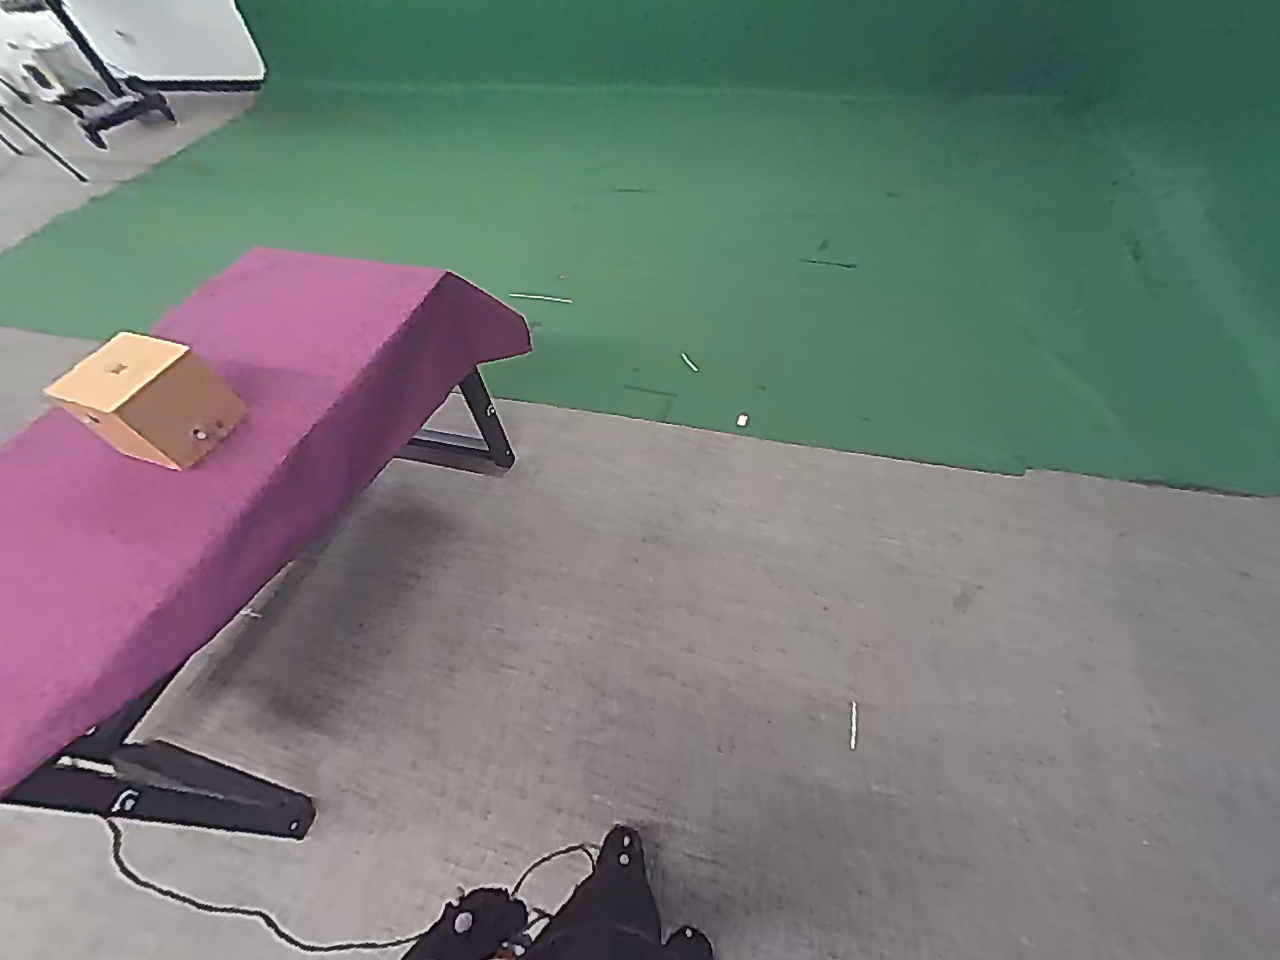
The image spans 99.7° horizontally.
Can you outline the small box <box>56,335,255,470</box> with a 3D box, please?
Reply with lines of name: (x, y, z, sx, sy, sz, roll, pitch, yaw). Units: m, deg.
small box: (-0.883, -0.141, 1.004, 0.179, 0.176, 0.168, 15, 56, 15)
